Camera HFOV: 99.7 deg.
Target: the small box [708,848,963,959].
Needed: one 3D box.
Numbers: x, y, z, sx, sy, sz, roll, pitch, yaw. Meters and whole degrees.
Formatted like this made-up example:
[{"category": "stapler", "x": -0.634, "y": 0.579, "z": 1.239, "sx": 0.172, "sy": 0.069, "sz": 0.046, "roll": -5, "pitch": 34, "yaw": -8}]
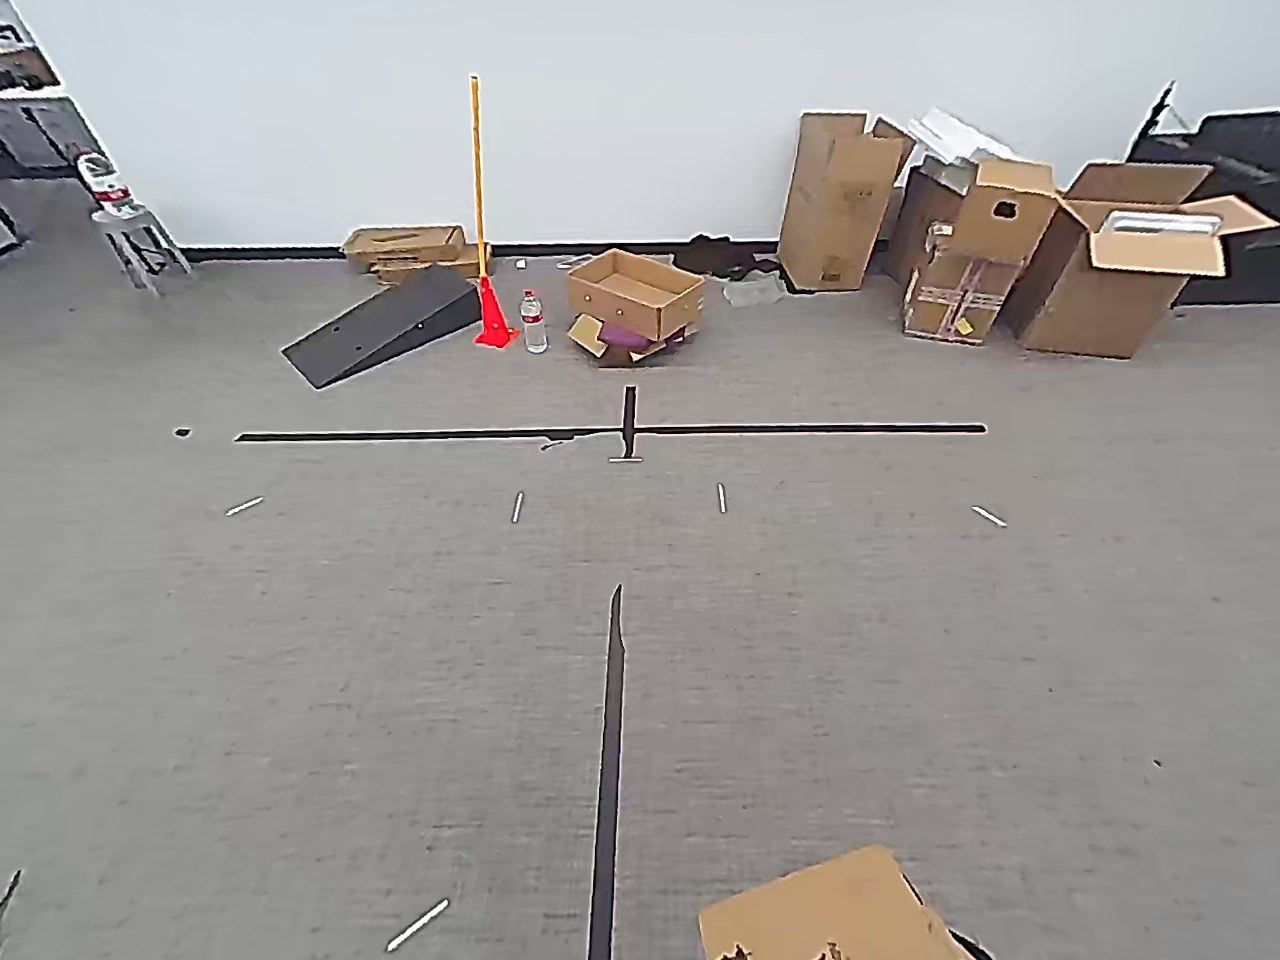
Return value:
[{"category": "small box", "x": 0.169, "y": 0.436, "z": 0.406, "sx": 0.179, "sy": 0.176, "sz": 0.168, "roll": -19, "pitch": 6, "yaw": -1}]
